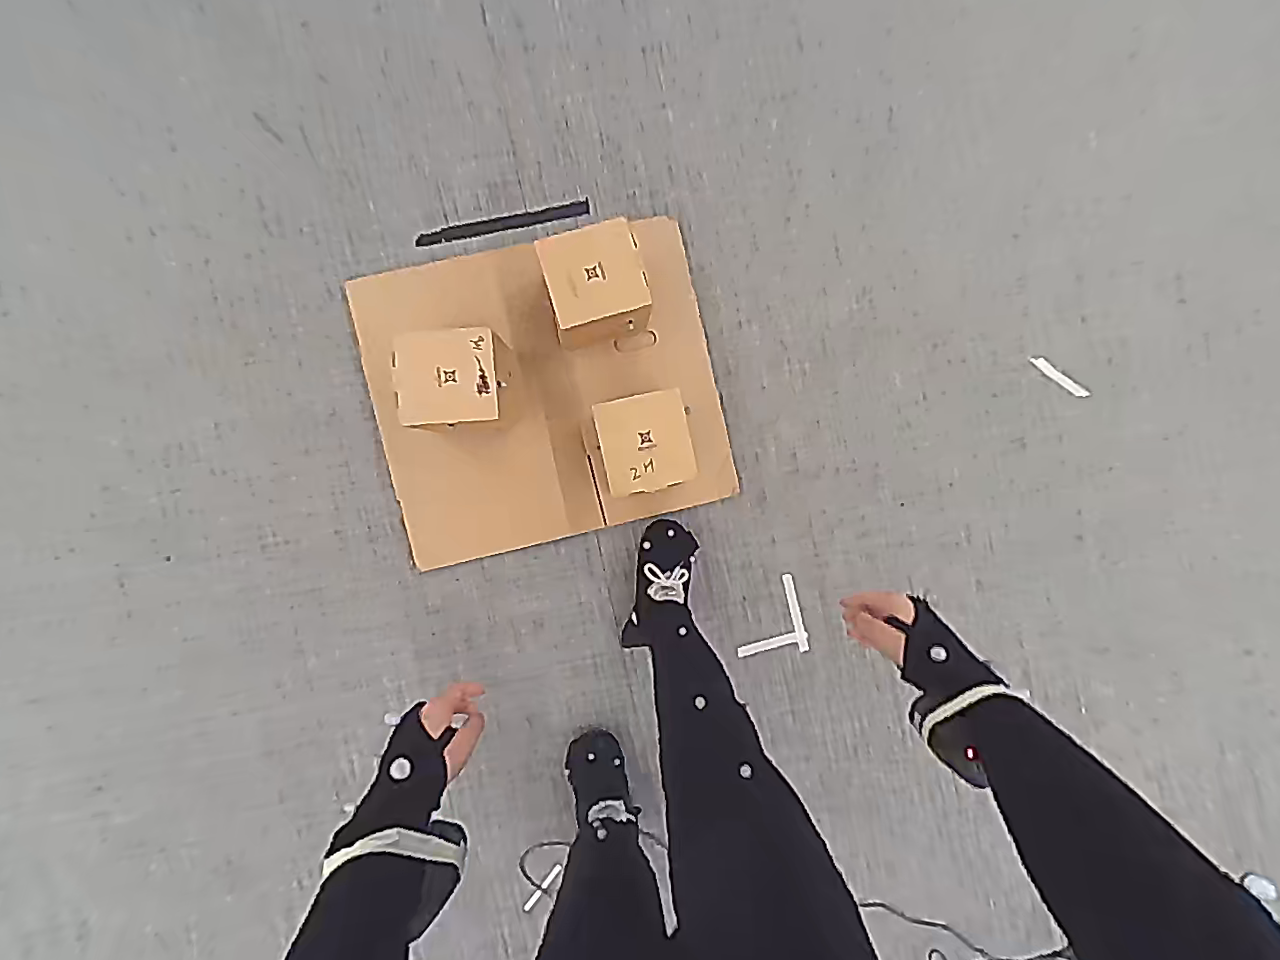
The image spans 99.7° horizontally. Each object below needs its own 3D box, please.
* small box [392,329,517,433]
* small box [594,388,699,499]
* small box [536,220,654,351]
[{"bbox_3d":[-0.342,-0.179,1.022,0.179,0.176,0.168,-4,92,-2],"label":"small box"},{"bbox_3d":[0.007,-0.068,1.049,0.168,0.176,0.179,-13,93,-2],"label":"small box"},{"bbox_3d":[-0.085,-0.363,1.037,0.179,0.176,0.168,-18,91,-3],"label":"small box"}]
